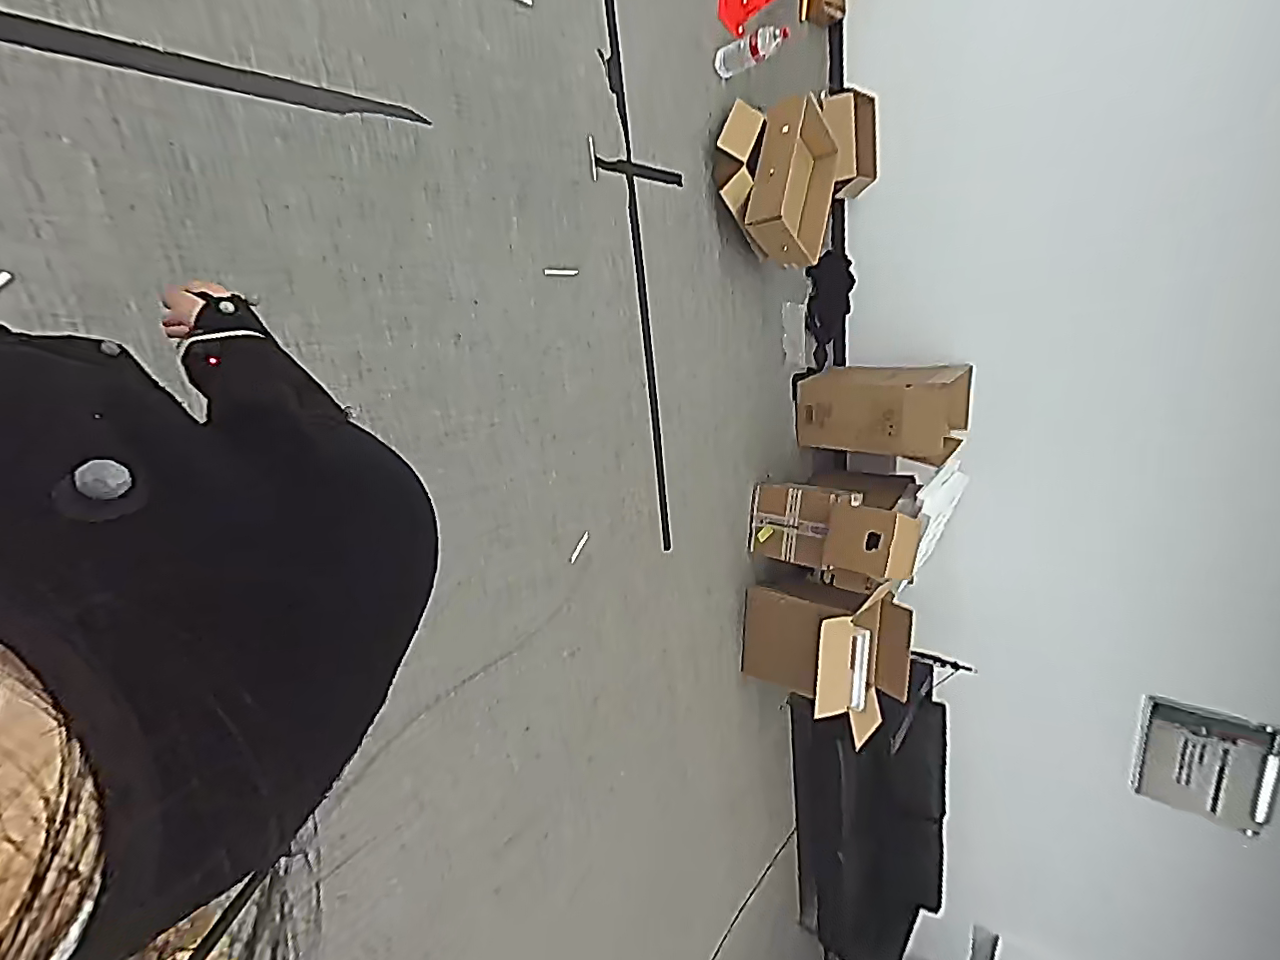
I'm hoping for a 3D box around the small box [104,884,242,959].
[{"bbox_3d":[-0.916,0.952,1.067,0.168,0.176,0.179,-25,115,-42],"label":"small box"}]

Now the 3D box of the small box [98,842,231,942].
[{"bbox_3d":[-1.035,0.935,1.176,0.168,0.176,0.179,-25,114,-44],"label":"small box"}]
